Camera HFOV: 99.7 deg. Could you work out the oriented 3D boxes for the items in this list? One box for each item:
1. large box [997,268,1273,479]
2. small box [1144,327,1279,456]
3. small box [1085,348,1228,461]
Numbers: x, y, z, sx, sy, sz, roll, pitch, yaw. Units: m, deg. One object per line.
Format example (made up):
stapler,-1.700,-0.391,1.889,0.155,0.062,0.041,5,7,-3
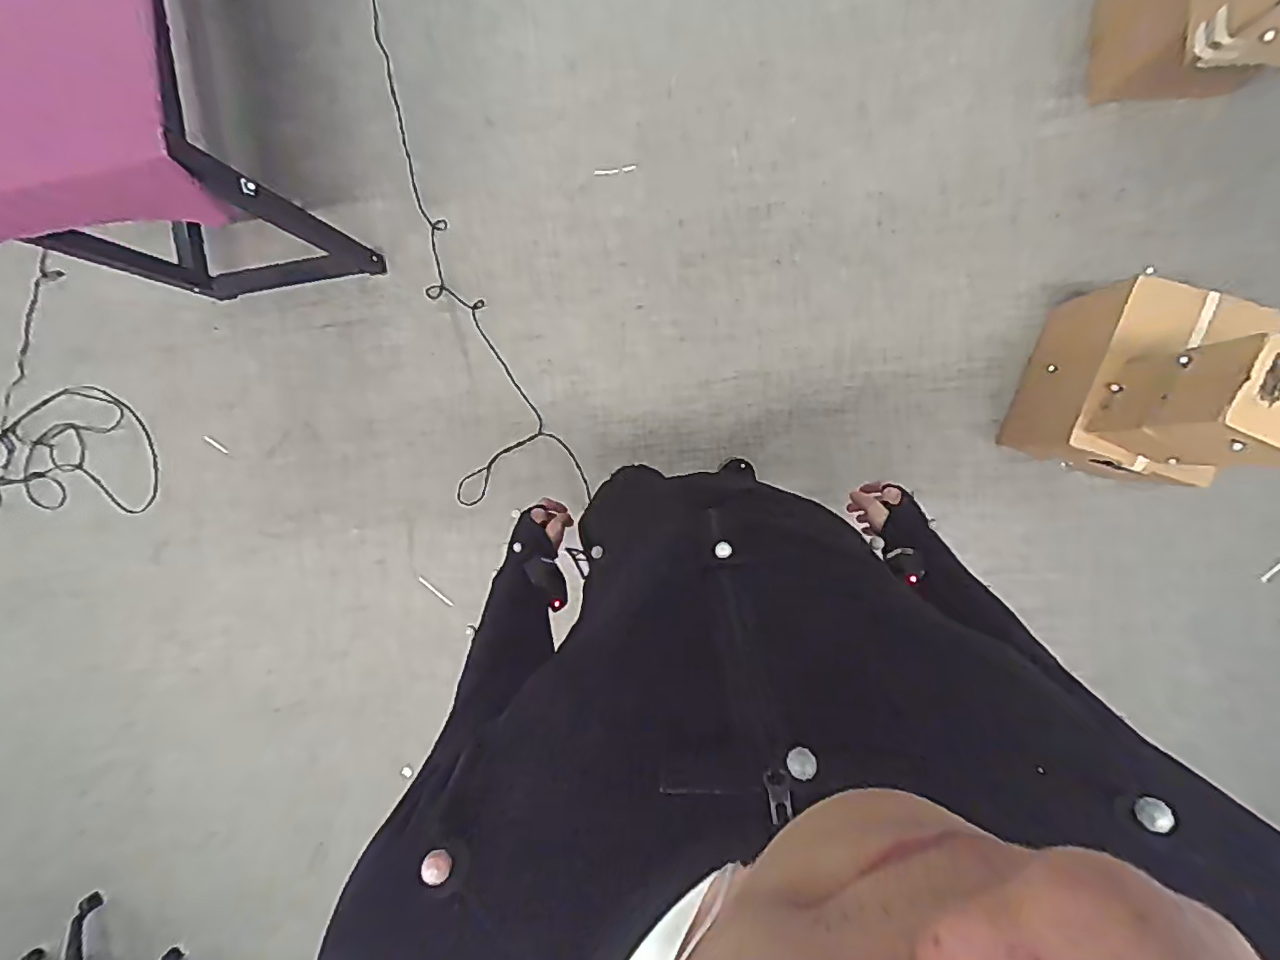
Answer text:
large box,1.183,-0.243,1.345,0.320,0.320,0.408,18,96,3
small box,1.068,-0.145,0.954,0.179,0.176,0.168,26,96,4
small box,1.091,-0.152,1.116,0.179,0.176,0.168,25,97,5
